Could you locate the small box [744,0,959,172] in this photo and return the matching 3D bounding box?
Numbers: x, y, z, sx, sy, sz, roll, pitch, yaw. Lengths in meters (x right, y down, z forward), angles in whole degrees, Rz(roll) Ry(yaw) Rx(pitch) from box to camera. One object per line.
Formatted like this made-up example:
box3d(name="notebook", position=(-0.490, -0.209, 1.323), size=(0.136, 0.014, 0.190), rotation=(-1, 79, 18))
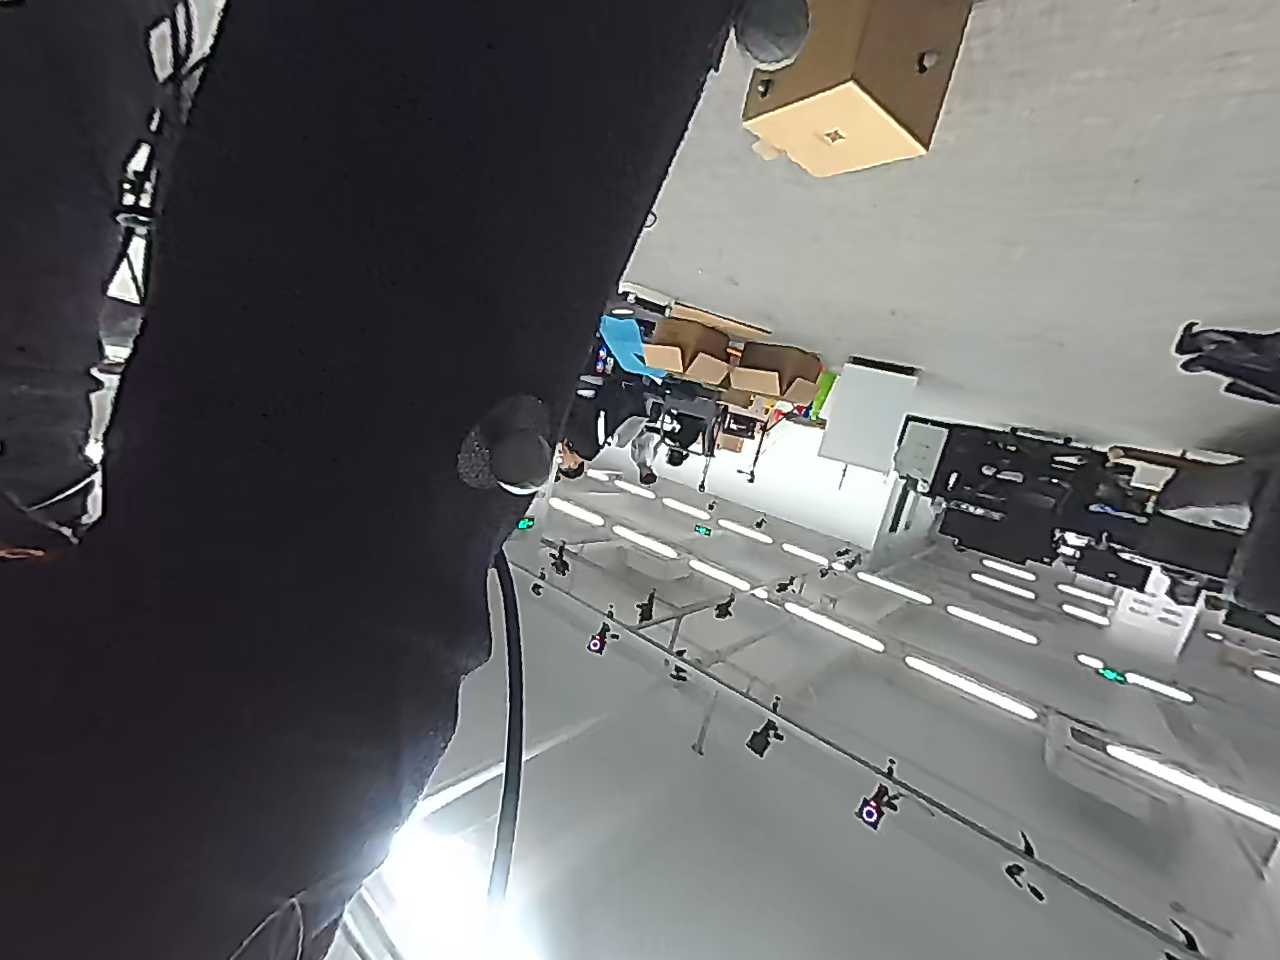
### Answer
box3d(name="small box", position=(0.262, -0.517, 0.669), size=(0.168, 0.176, 0.179), rotation=(8, -168, -35))
